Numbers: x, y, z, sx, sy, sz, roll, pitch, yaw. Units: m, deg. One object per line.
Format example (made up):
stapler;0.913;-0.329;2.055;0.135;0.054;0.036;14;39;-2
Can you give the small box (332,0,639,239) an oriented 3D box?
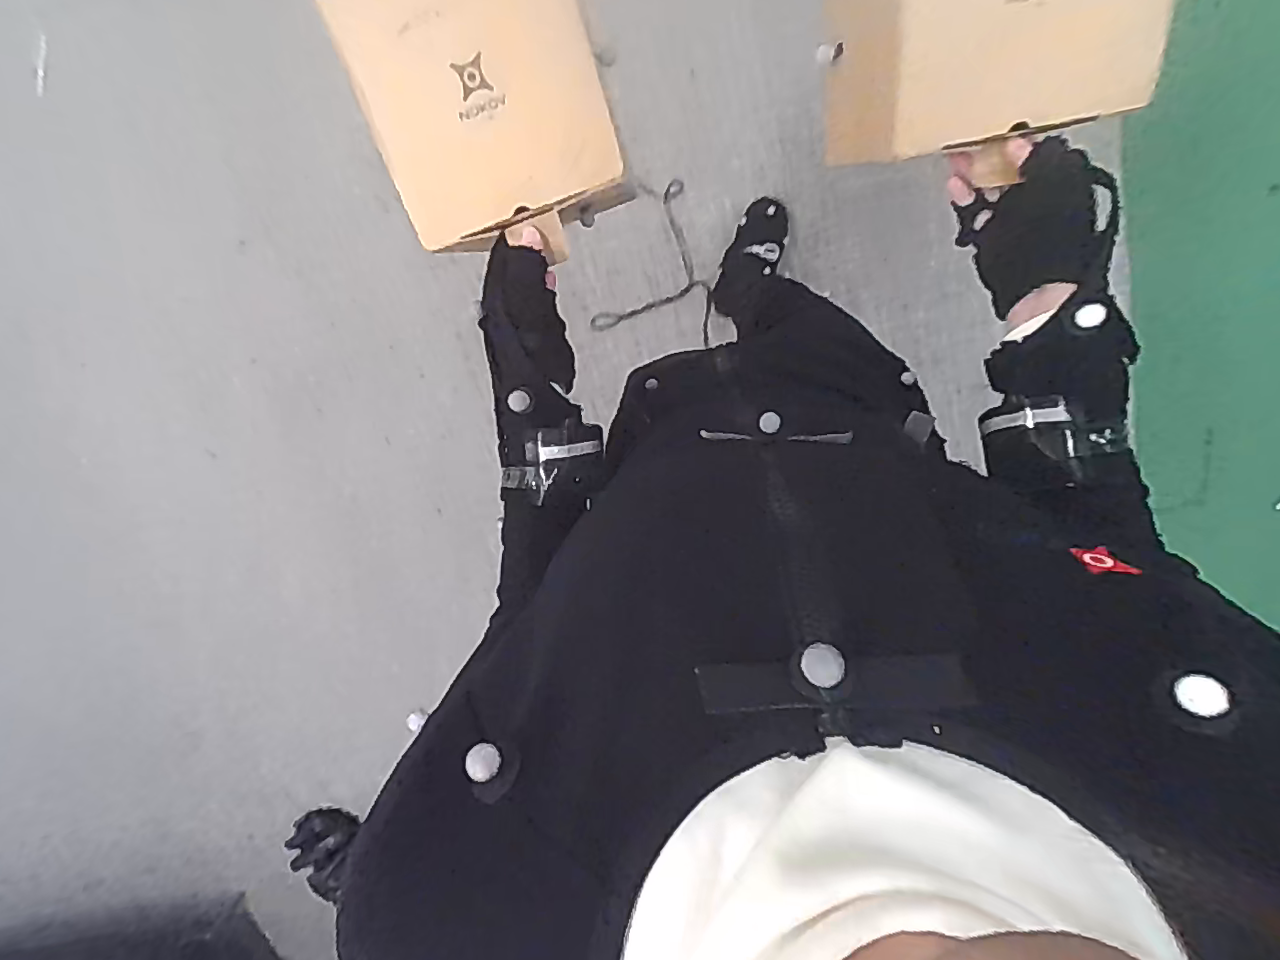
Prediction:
small box;-0.103;-0.314;0.443;0.168;0.176;0.179;-17;110;9

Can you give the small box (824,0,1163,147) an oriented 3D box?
small box;0.244;-0.362;0.402;0.168;0.176;0.179;-10;118;5
